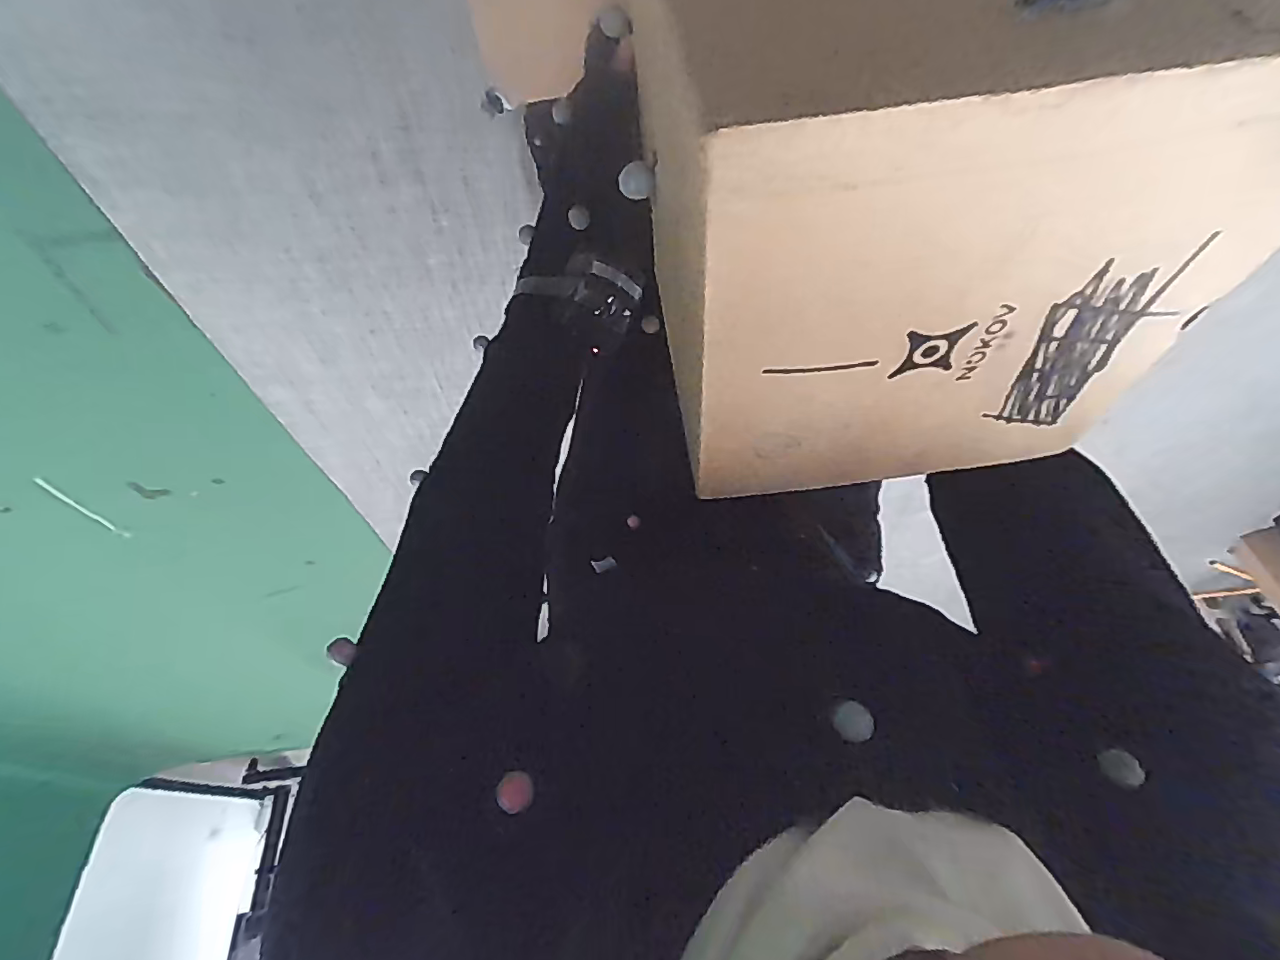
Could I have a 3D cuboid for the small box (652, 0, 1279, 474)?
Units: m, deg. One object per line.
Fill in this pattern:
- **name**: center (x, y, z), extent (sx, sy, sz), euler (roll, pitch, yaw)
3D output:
- **small box**: center (0.101, -0.122, 0.233), extent (0.179, 0.176, 0.168), euler (-5, 148, 2)
